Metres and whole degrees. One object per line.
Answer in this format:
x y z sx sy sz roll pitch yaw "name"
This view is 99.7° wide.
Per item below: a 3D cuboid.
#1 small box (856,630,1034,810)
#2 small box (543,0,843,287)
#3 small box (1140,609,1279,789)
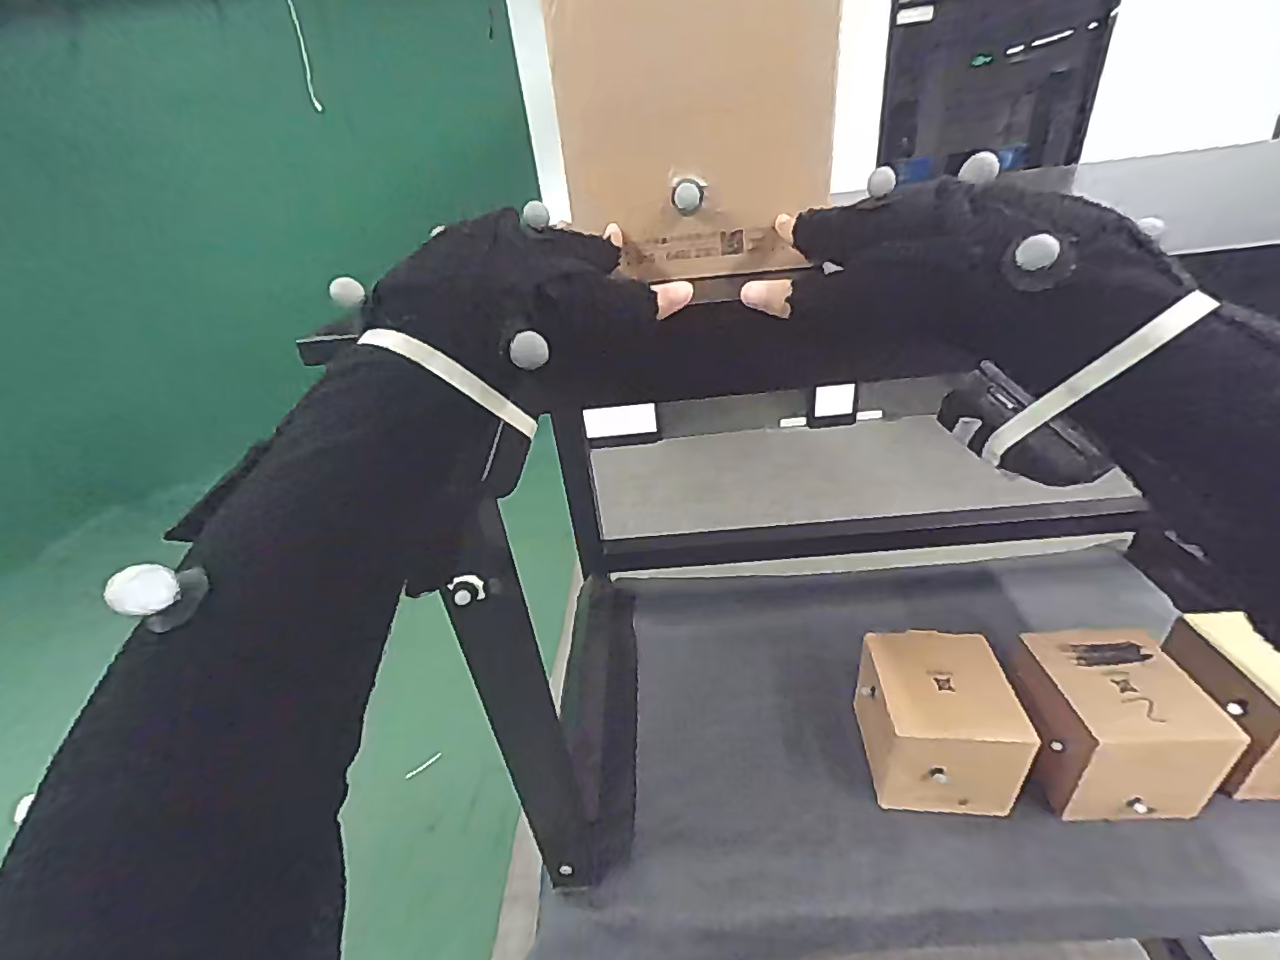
0.417 0.339 0.773 0.168 0.176 0.179 -2 30 9 "small box"
0.038 -0.247 0.398 0.168 0.176 0.179 -3 31 6 "small box"
0.855 0.300 0.739 0.168 0.176 0.179 -3 30 6 "small box"
